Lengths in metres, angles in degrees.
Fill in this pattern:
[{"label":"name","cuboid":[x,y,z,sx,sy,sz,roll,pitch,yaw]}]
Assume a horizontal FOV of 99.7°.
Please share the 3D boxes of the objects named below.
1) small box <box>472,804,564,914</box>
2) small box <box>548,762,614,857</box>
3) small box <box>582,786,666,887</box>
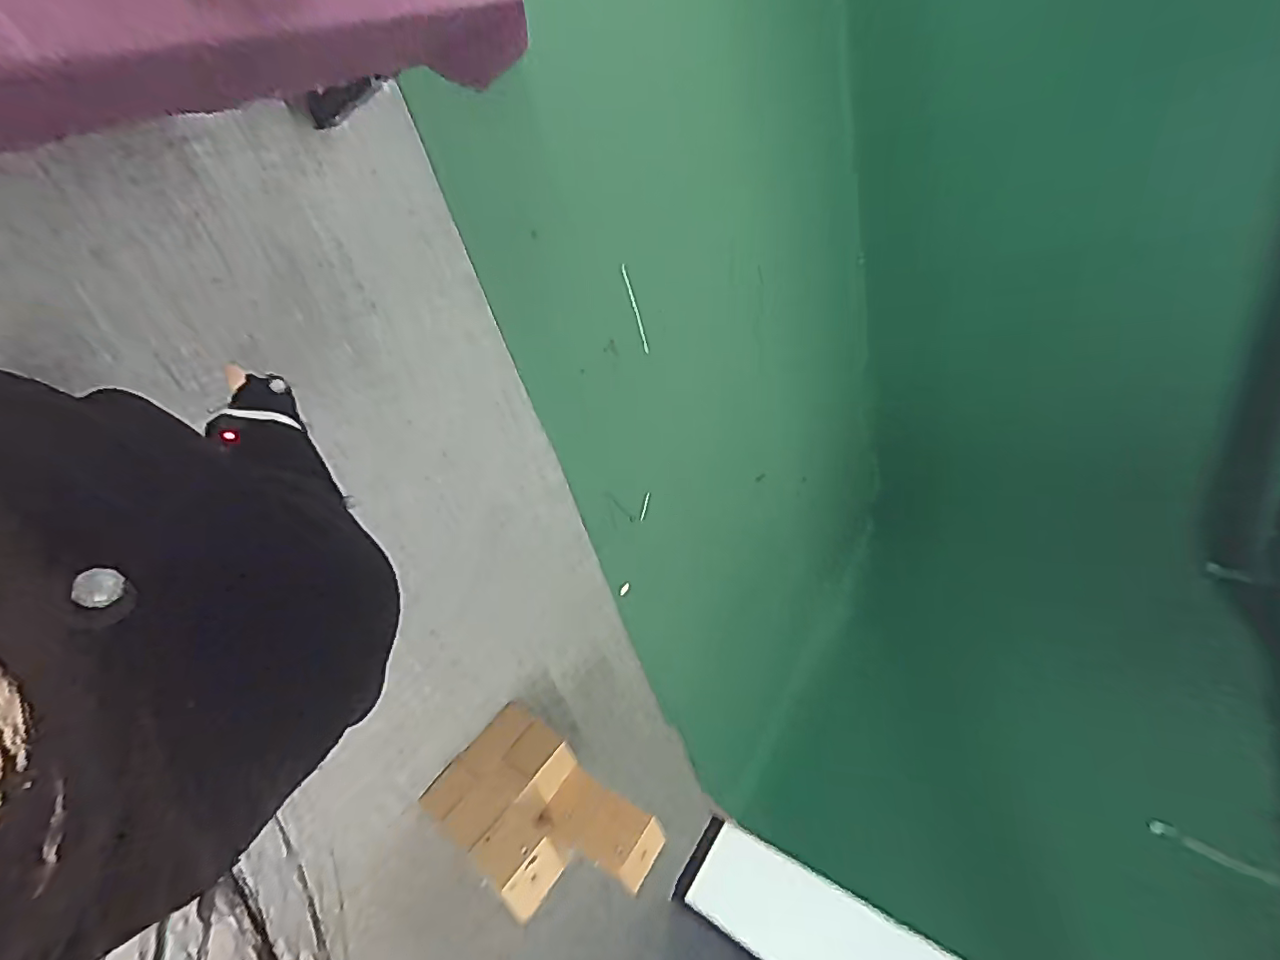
[{"label":"small box","cuboid":[-0.354,1.088,1.566,0.168,0.176,0.179,-39,126,-38]},{"label":"small box","cuboid":[-0.179,1.076,1.776,0.179,0.176,0.168,-46,131,-35]},{"label":"small box","cuboid":[-0.050,1.099,1.680,0.179,0.176,0.168,-44,130,-35]}]
